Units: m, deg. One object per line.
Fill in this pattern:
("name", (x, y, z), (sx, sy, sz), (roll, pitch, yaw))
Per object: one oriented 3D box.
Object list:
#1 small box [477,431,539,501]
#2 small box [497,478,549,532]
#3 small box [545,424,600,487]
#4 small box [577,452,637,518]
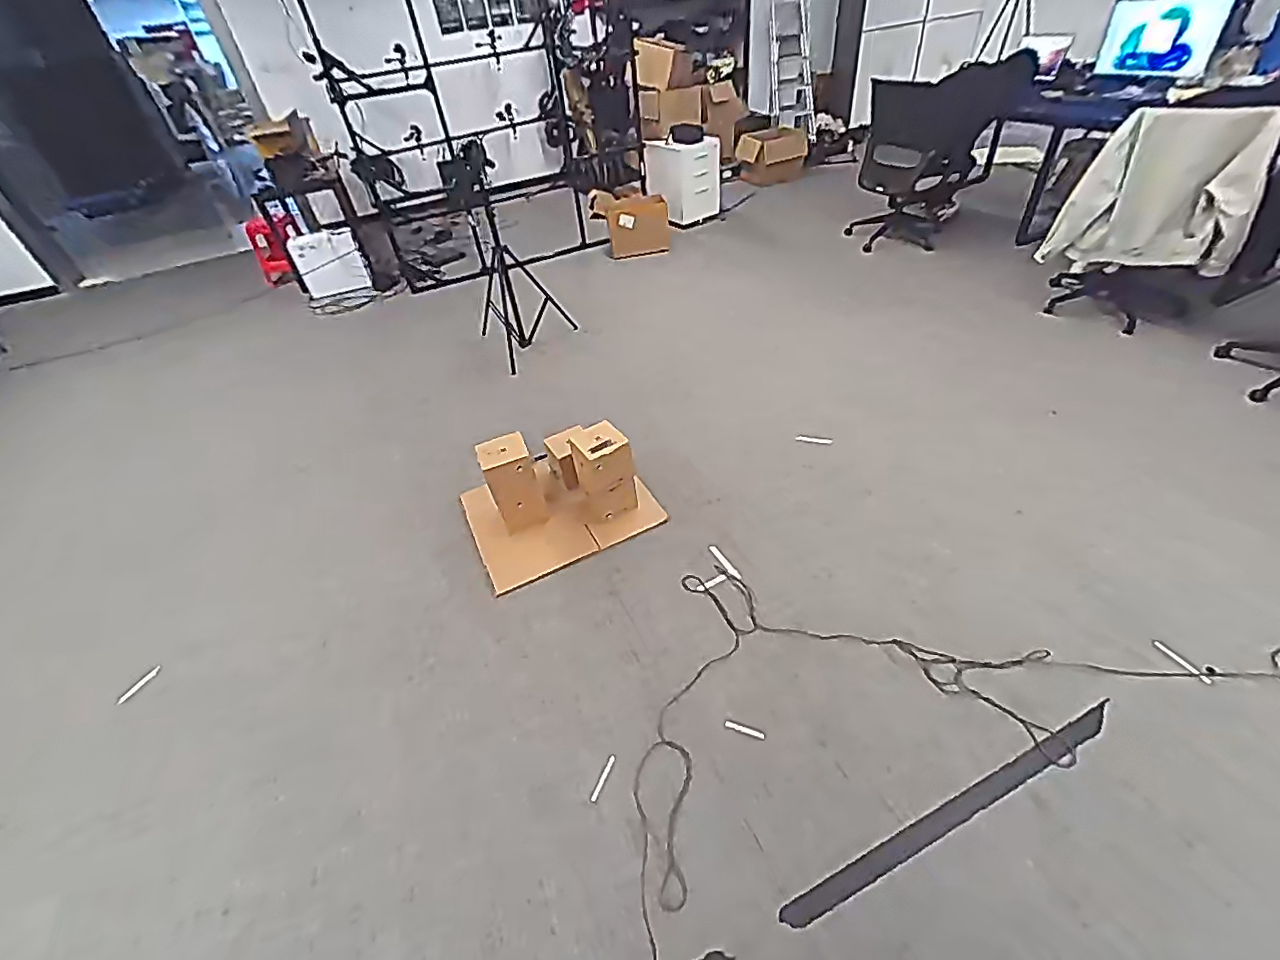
("small box", (-0.485, -0.051, 2.006), (0.179, 0.176, 0.168), (-20, 43, -12))
("small box", (-0.466, 0.071, 2.115), (0.179, 0.176, 0.168), (-21, 44, -13))
("small box", (-0.277, -0.103, 2.282), (0.179, 0.176, 0.168), (-26, 44, -18))
("small box", (-0.124, 0.026, 2.113), (0.168, 0.176, 0.179), (-25, 44, -19))
